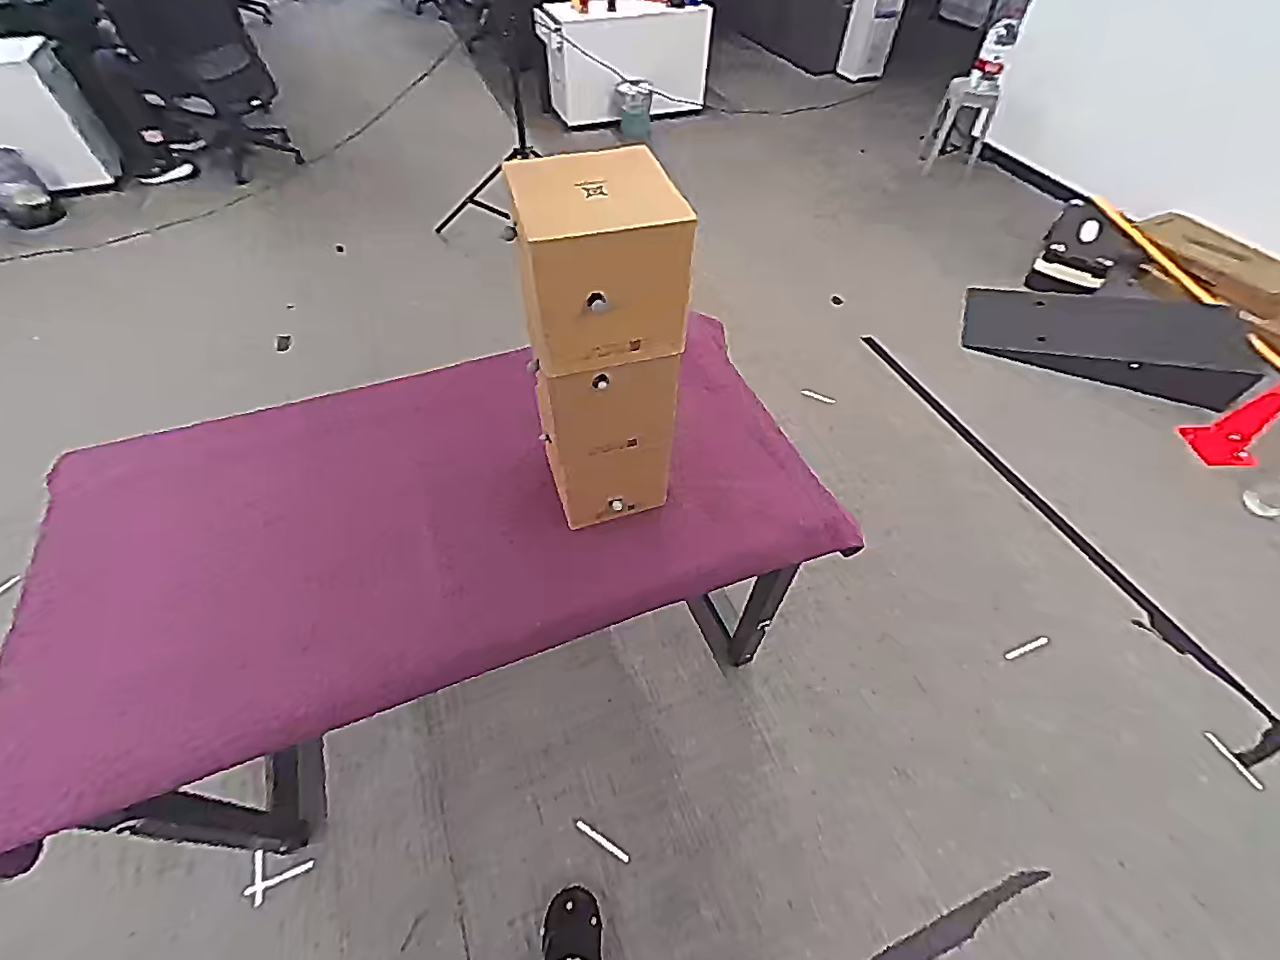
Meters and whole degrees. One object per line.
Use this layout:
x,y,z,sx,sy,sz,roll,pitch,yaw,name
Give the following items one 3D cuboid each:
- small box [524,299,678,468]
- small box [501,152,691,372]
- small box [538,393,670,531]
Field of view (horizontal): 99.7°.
-0.056,-0.144,0.747,0.168,0.176,0.179,-13,53,-11,small box
-0.050,-0.240,0.615,0.168,0.176,0.179,-14,53,-11,small box
-0.061,-0.047,0.879,0.168,0.176,0.179,-15,54,-12,small box
